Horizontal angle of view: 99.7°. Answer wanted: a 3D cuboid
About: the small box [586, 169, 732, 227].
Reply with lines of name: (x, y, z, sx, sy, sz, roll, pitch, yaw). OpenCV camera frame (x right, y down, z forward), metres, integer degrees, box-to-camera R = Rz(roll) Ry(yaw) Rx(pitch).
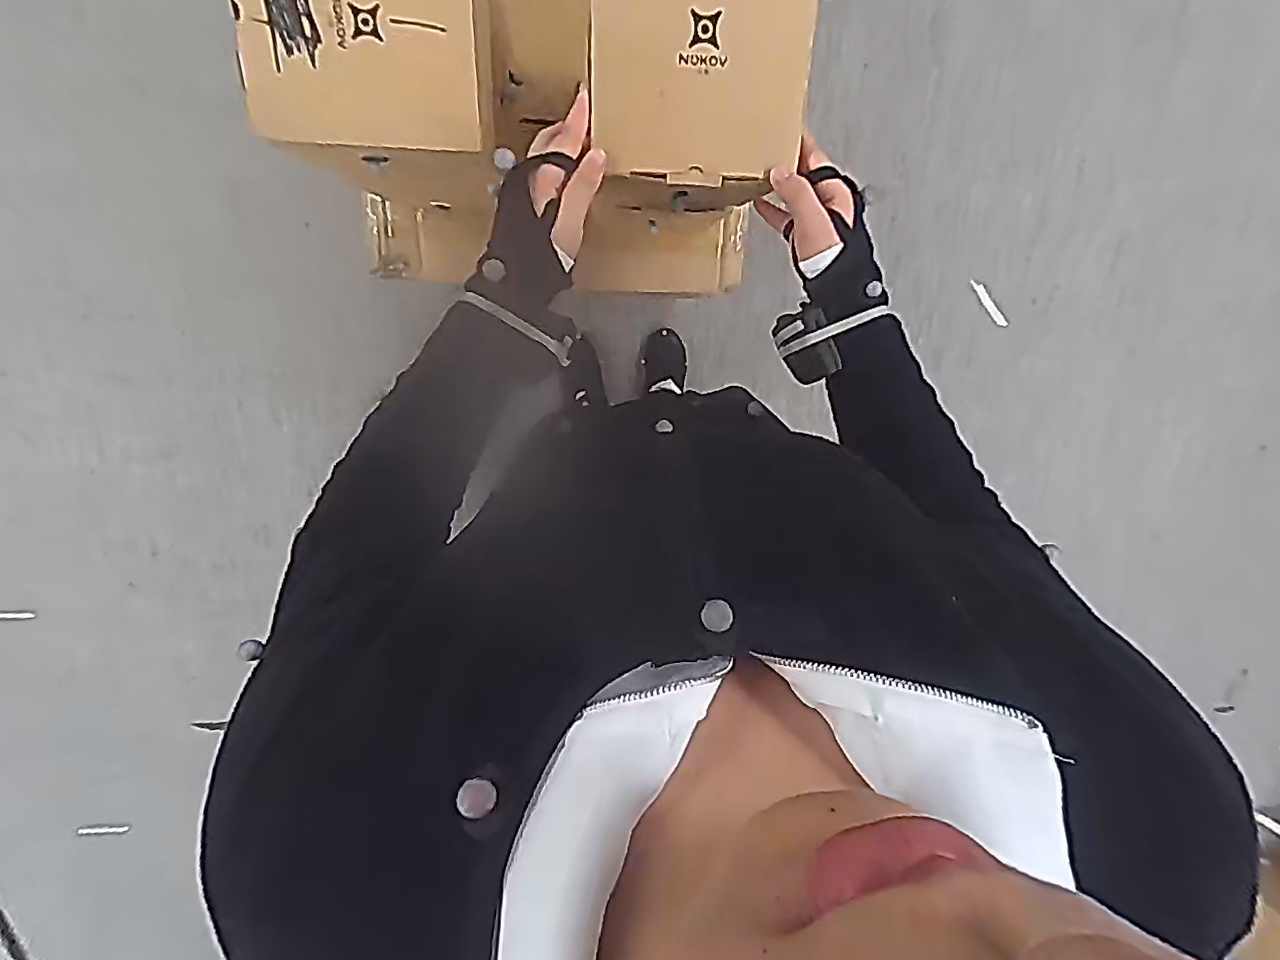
small box: (0.021, -0.414, 0.650, 0.168, 0.176, 0.179, 1, 109, -3)

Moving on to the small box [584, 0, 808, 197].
small box: (0.037, -0.354, 0.476, 0.168, 0.176, 0.179, 0, 112, -4)

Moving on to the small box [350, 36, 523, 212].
small box: (-0.232, -0.424, 0.631, 0.168, 0.176, 0.179, 1, 110, -4)

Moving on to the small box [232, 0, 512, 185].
small box: (-0.217, -0.369, 0.477, 0.179, 0.176, 0.168, 0, 109, -5)
